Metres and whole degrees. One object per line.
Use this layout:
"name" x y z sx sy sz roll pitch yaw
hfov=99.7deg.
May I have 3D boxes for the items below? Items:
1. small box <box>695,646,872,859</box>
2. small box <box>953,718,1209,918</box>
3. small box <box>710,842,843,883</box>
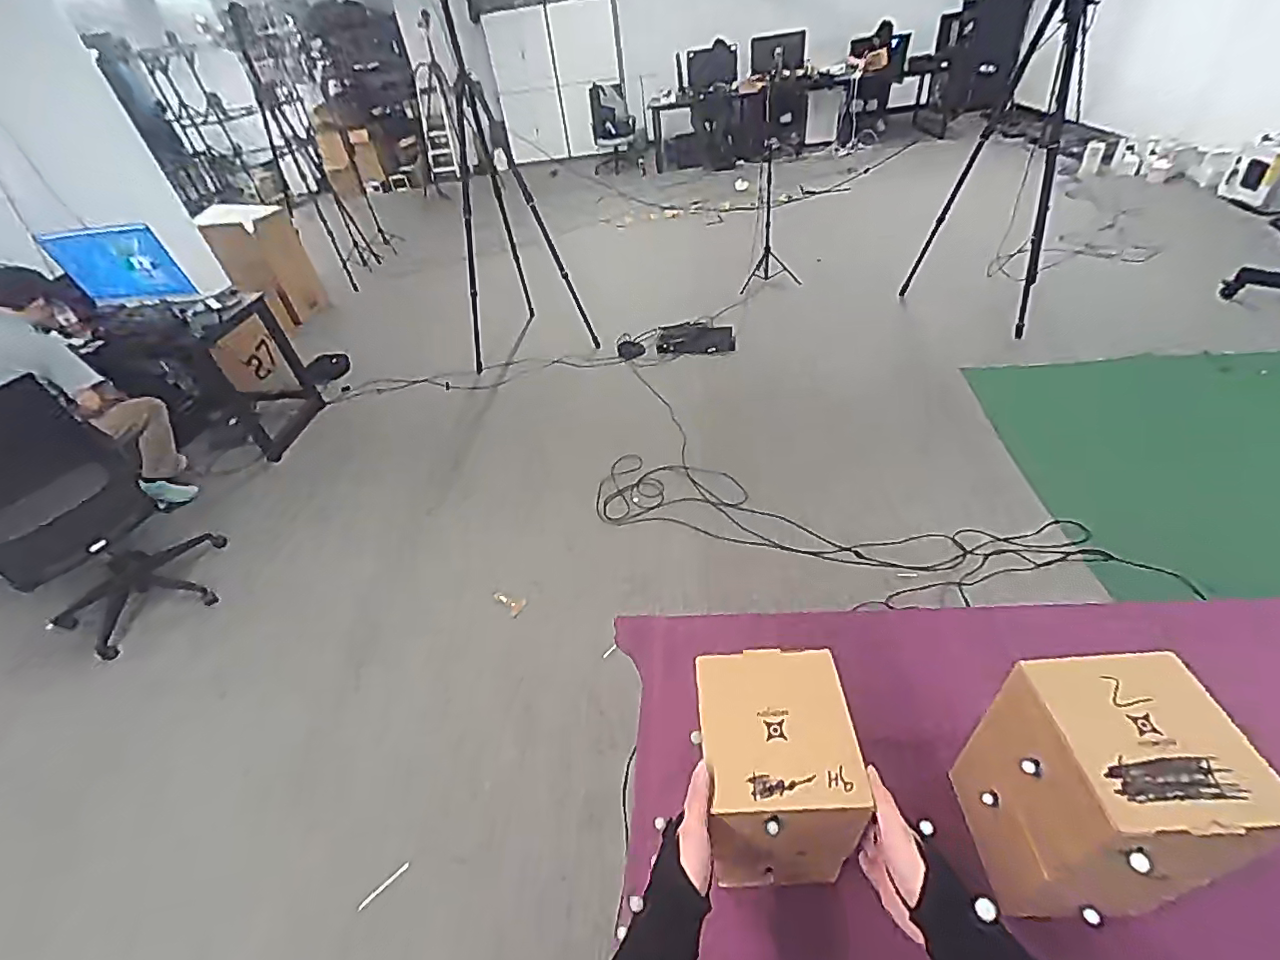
"small box" 0.154 0.322 0.642 0.168 0.176 0.179 -5 40 5
"small box" 0.533 0.430 0.694 0.168 0.176 0.179 -5 41 6
"small box" 0.175 0.436 0.759 0.168 0.176 0.179 -6 41 4
